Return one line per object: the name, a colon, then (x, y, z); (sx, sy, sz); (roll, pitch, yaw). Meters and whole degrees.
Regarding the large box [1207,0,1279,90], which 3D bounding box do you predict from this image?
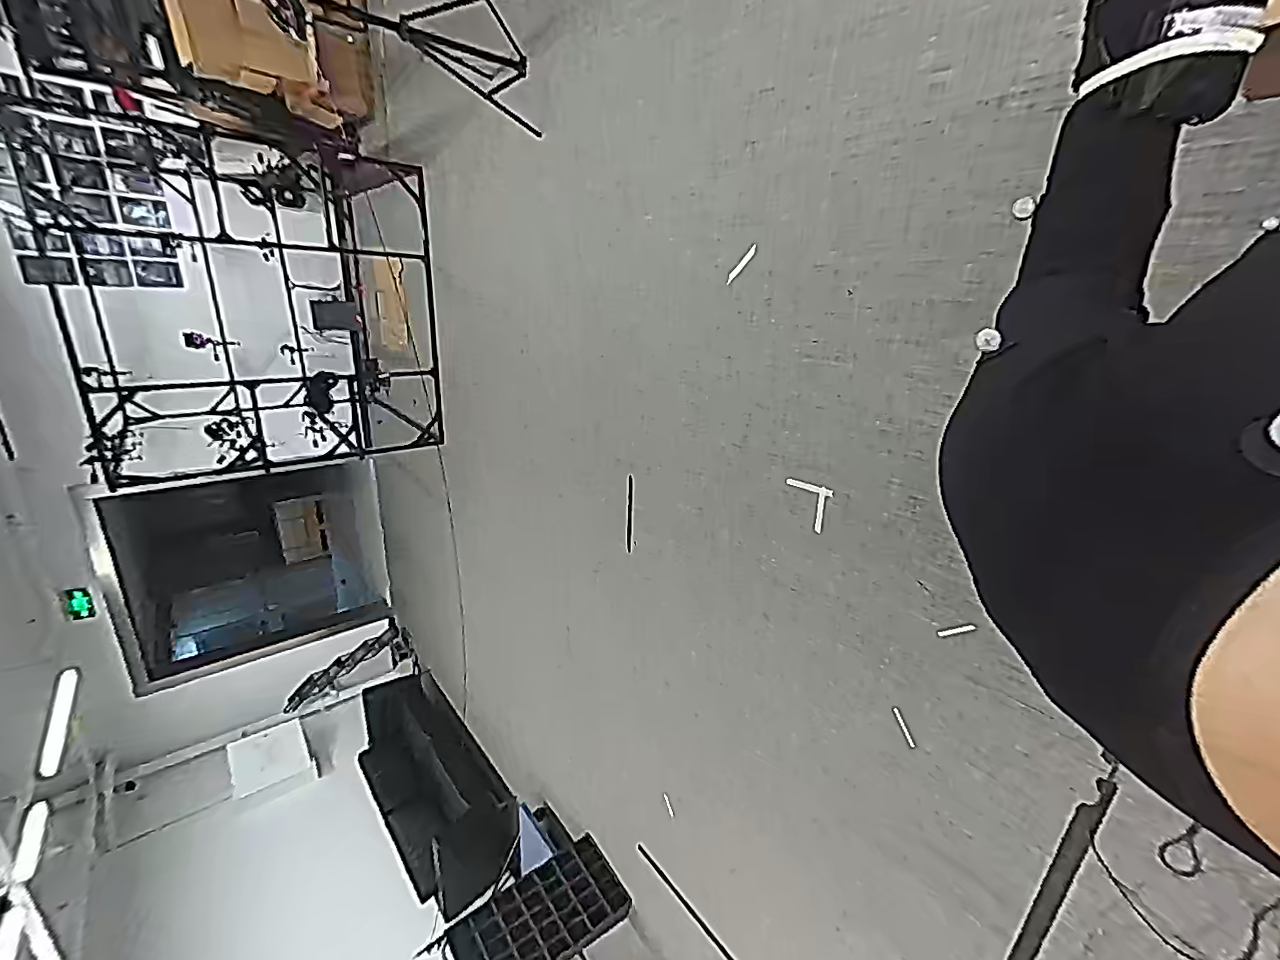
large box: (0.602, -0.454, 0.260); (0.408, 0.320, 0.320); (16, 119, 48)
